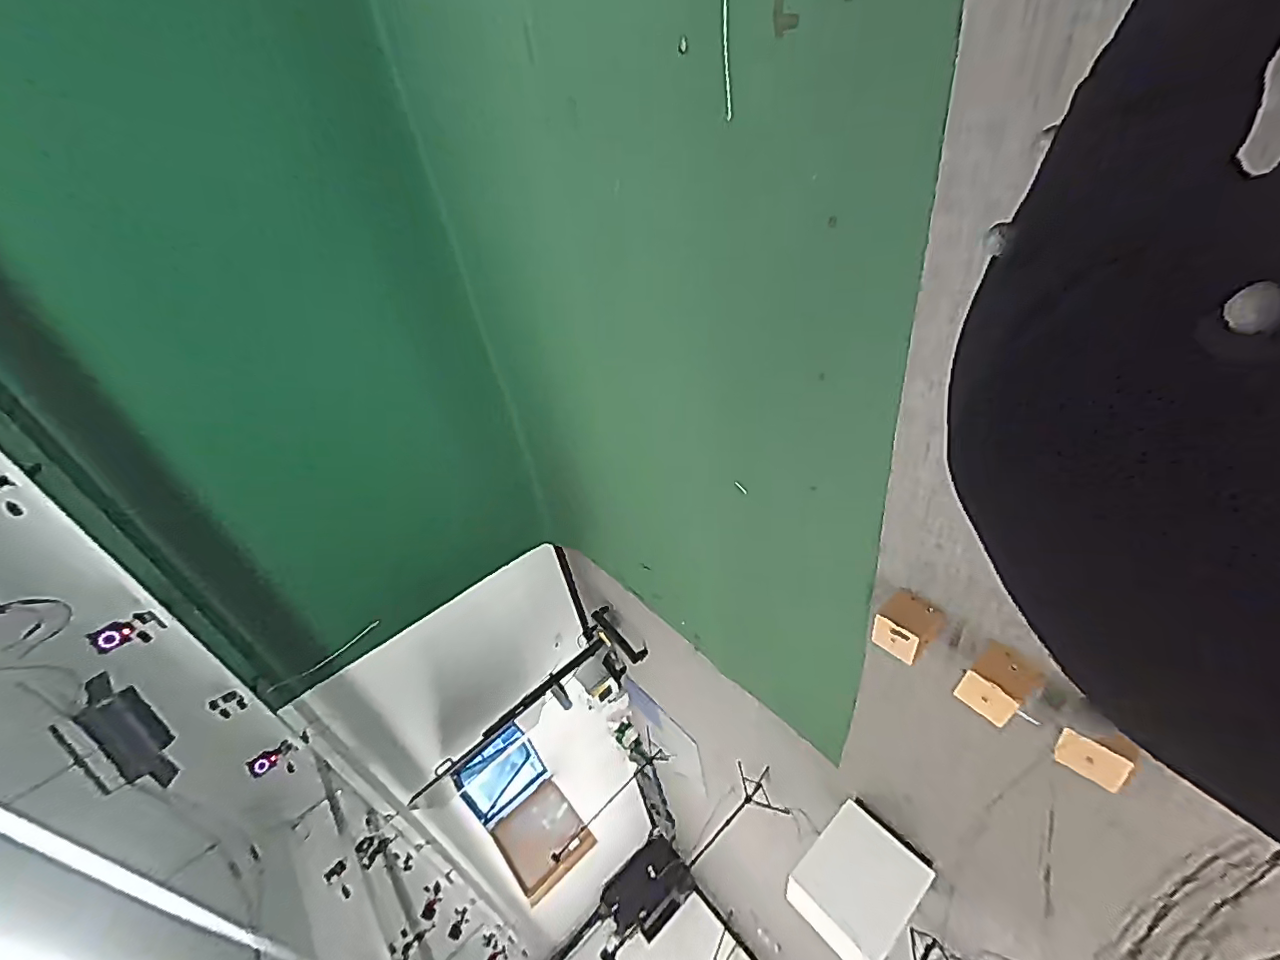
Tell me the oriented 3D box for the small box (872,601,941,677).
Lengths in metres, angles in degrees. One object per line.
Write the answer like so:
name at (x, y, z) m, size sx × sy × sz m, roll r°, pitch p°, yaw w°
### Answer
small box at (0.997, 0.588, 2.020) m, size 0.168 × 0.176 × 0.179 m, roll 31°, pitch 143°, yaw 41°

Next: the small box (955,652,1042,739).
small box at (1.205, 0.719, 1.817) m, size 0.168 × 0.176 × 0.179 m, roll 34°, pitch 144°, yaw 37°

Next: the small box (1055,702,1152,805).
small box at (1.387, 0.813, 1.618) m, size 0.168 × 0.176 × 0.179 m, roll 25°, pitch 136°, yaw 43°
